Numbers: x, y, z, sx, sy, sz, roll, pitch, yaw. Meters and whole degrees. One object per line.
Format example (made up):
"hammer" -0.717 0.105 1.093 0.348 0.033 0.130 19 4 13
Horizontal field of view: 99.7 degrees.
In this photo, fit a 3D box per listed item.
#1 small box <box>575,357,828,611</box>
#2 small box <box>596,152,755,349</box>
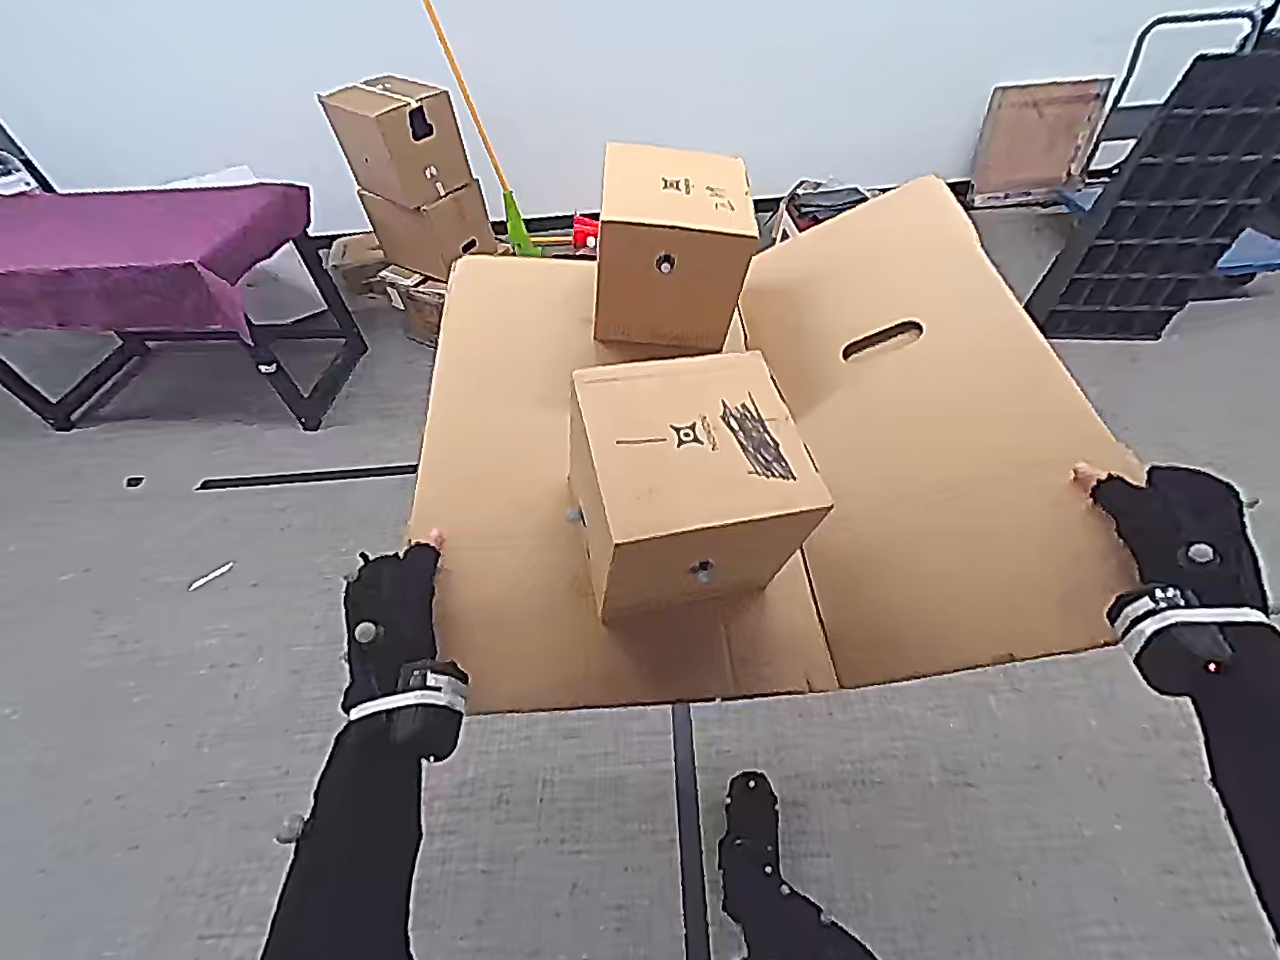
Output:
"small box" 0.038 0.008 0.510 0.179 0.176 0.168 -9 59 -12
"small box" 0.035 -0.289 0.700 0.179 0.176 0.168 4 57 -6
